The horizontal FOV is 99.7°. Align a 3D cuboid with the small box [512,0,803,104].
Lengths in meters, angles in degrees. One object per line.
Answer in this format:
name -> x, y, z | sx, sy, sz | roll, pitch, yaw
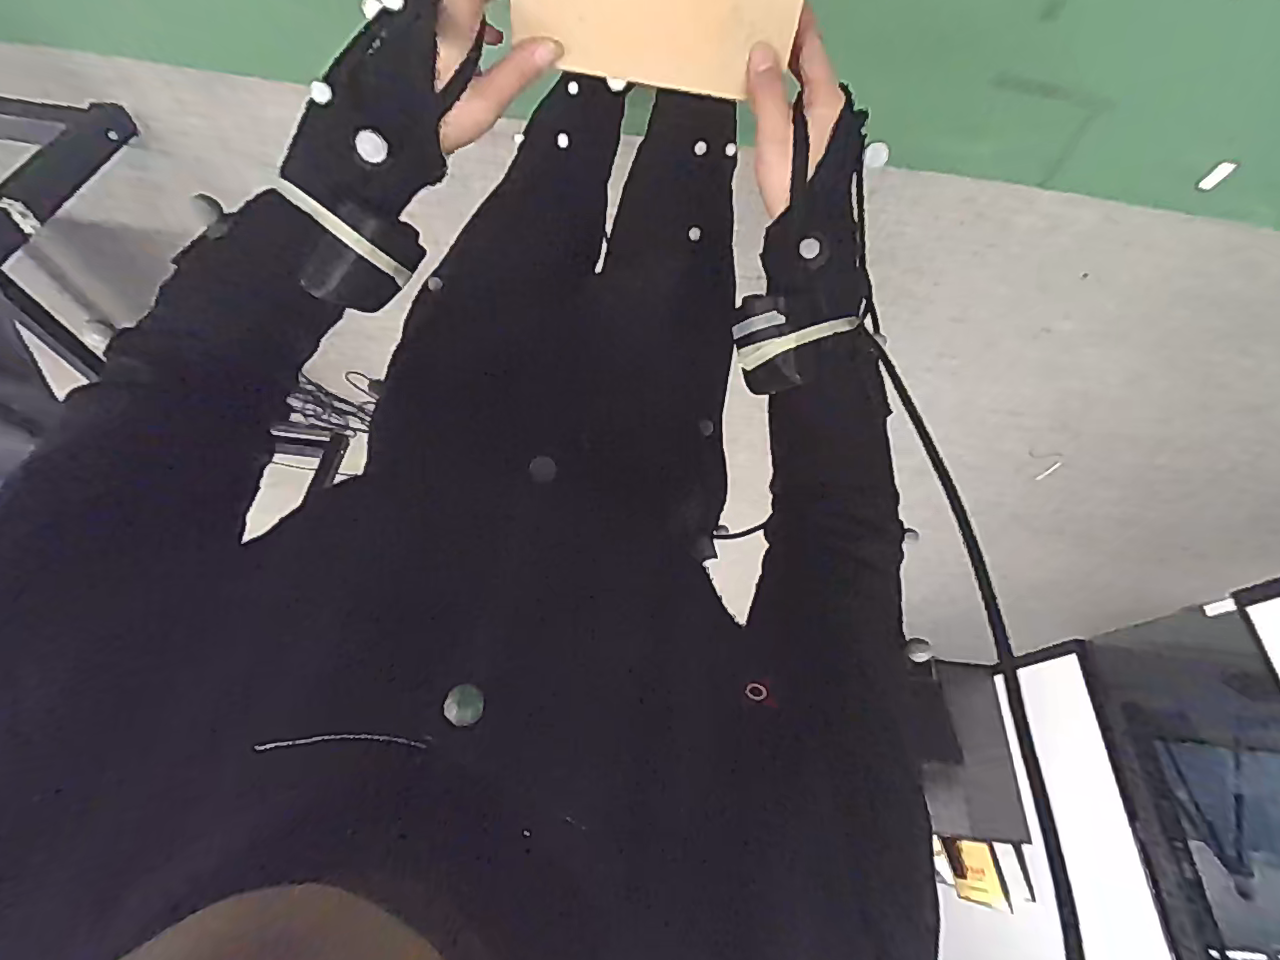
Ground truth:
small box -> 0.019, -0.360, 0.328 | 0.168, 0.176, 0.179 | 7, 133, -5
